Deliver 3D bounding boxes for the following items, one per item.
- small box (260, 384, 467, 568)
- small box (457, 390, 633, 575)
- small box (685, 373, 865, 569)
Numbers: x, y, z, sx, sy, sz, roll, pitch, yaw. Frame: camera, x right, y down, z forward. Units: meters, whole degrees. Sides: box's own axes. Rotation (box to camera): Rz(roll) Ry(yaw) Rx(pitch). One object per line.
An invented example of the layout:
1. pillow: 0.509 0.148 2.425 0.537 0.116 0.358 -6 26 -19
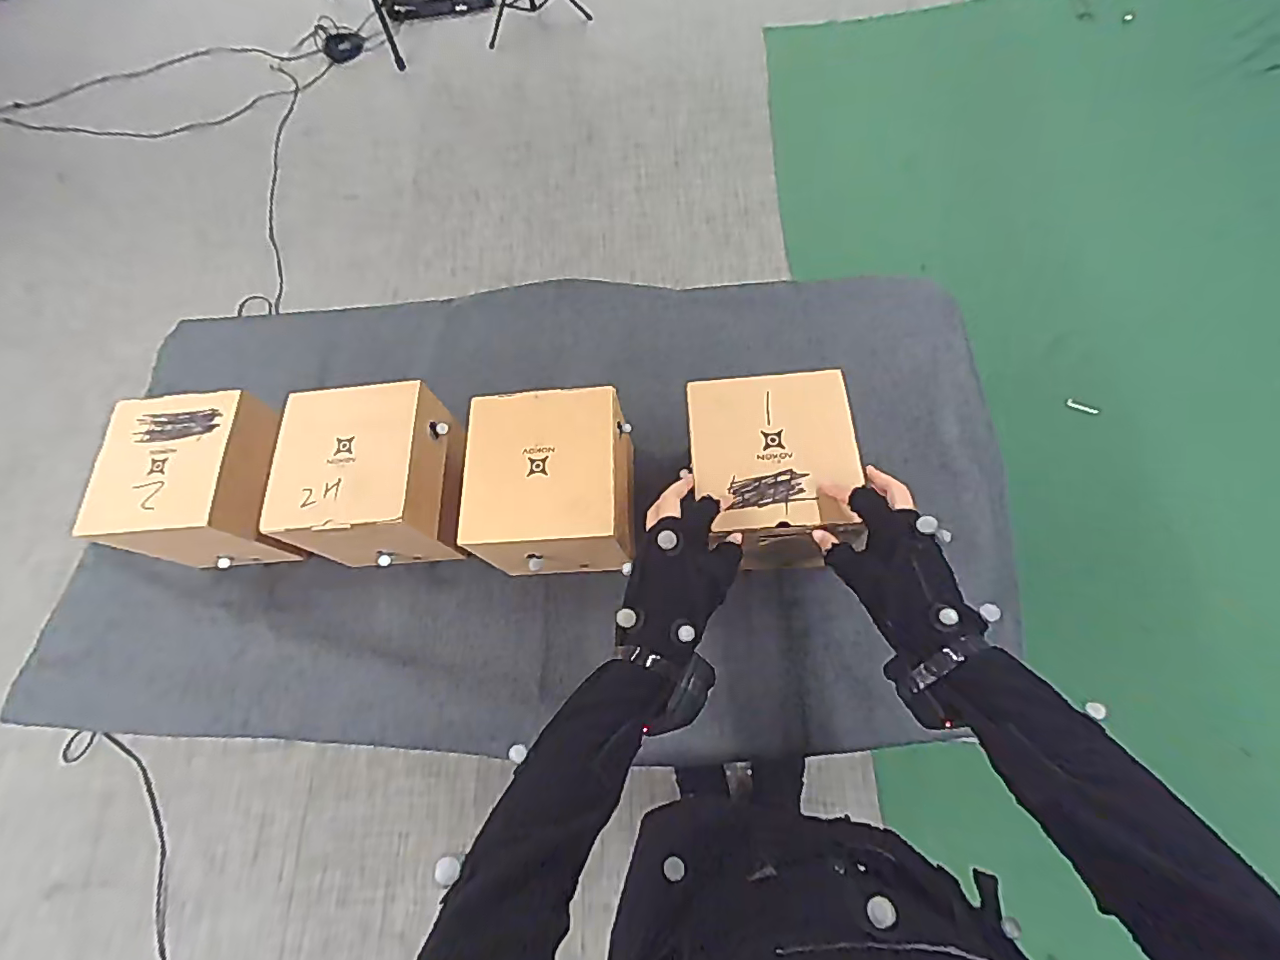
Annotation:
1. small box: -0.322 0.003 0.679 0.168 0.176 0.179 -5 68 5
2. small box: -0.100 0.015 0.650 0.168 0.176 0.179 -4 67 5
3. small box: 0.142 0.002 0.623 0.168 0.176 0.179 -4 67 5
